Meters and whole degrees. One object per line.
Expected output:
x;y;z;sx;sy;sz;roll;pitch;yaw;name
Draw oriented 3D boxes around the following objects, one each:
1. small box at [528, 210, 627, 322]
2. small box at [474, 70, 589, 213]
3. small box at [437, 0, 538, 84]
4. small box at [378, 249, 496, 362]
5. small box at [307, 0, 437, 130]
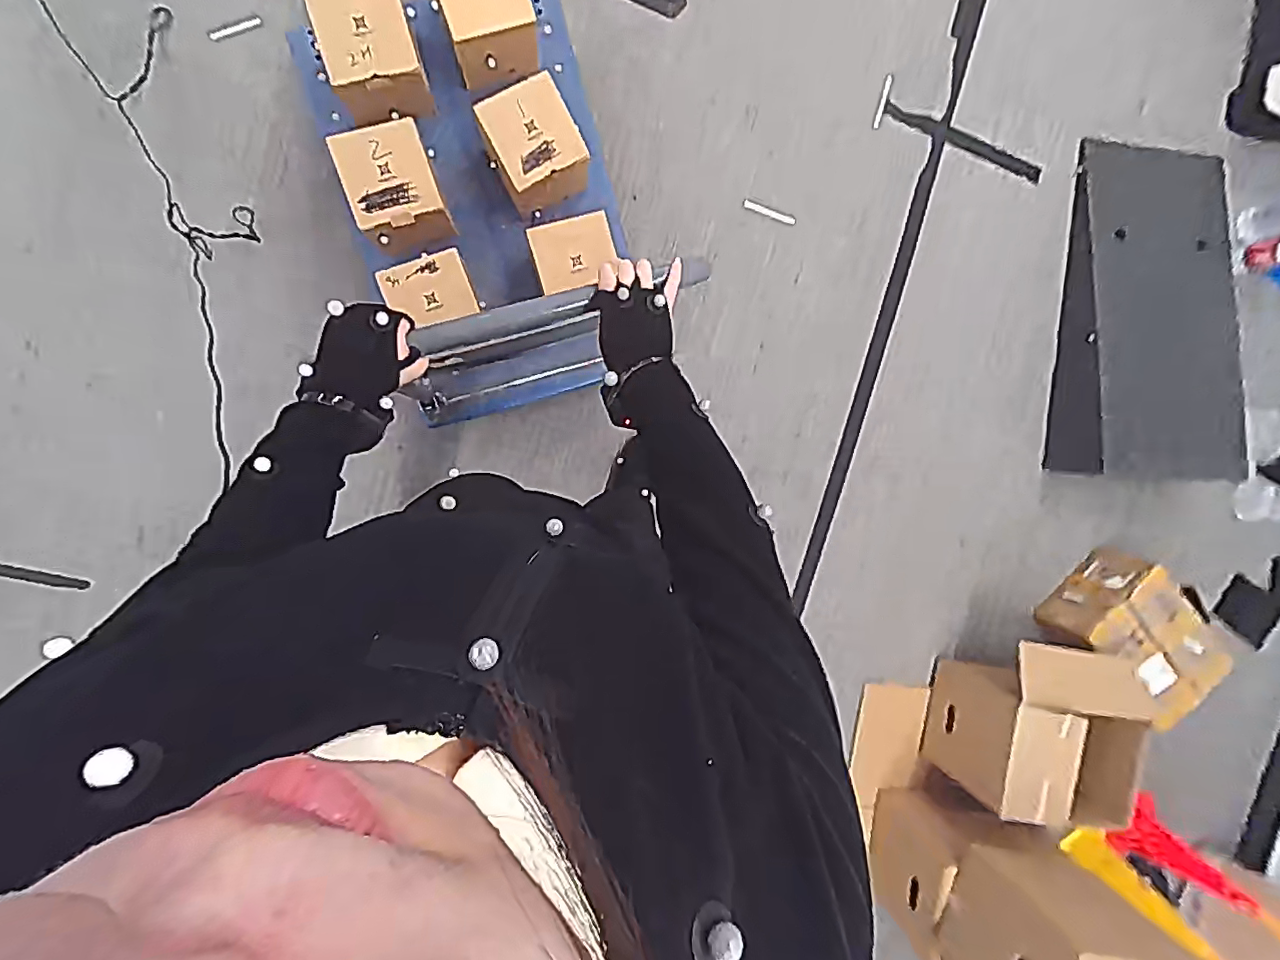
-0.135;-0.452;1.175;0.168;0.176;0.179;-17;98;-7;small box
-0.220;-0.692;1.135;0.168;0.176;0.179;-29;99;-4;small box
-0.314;-0.945;1.094;0.168;0.176;0.179;-20;99;-6;small box
-0.416;-0.357;1.142;0.168;0.176;0.179;-21;99;-7;small box
-0.523;-0.840;1.072;0.168;0.176;0.179;-16;99;-6;small box
